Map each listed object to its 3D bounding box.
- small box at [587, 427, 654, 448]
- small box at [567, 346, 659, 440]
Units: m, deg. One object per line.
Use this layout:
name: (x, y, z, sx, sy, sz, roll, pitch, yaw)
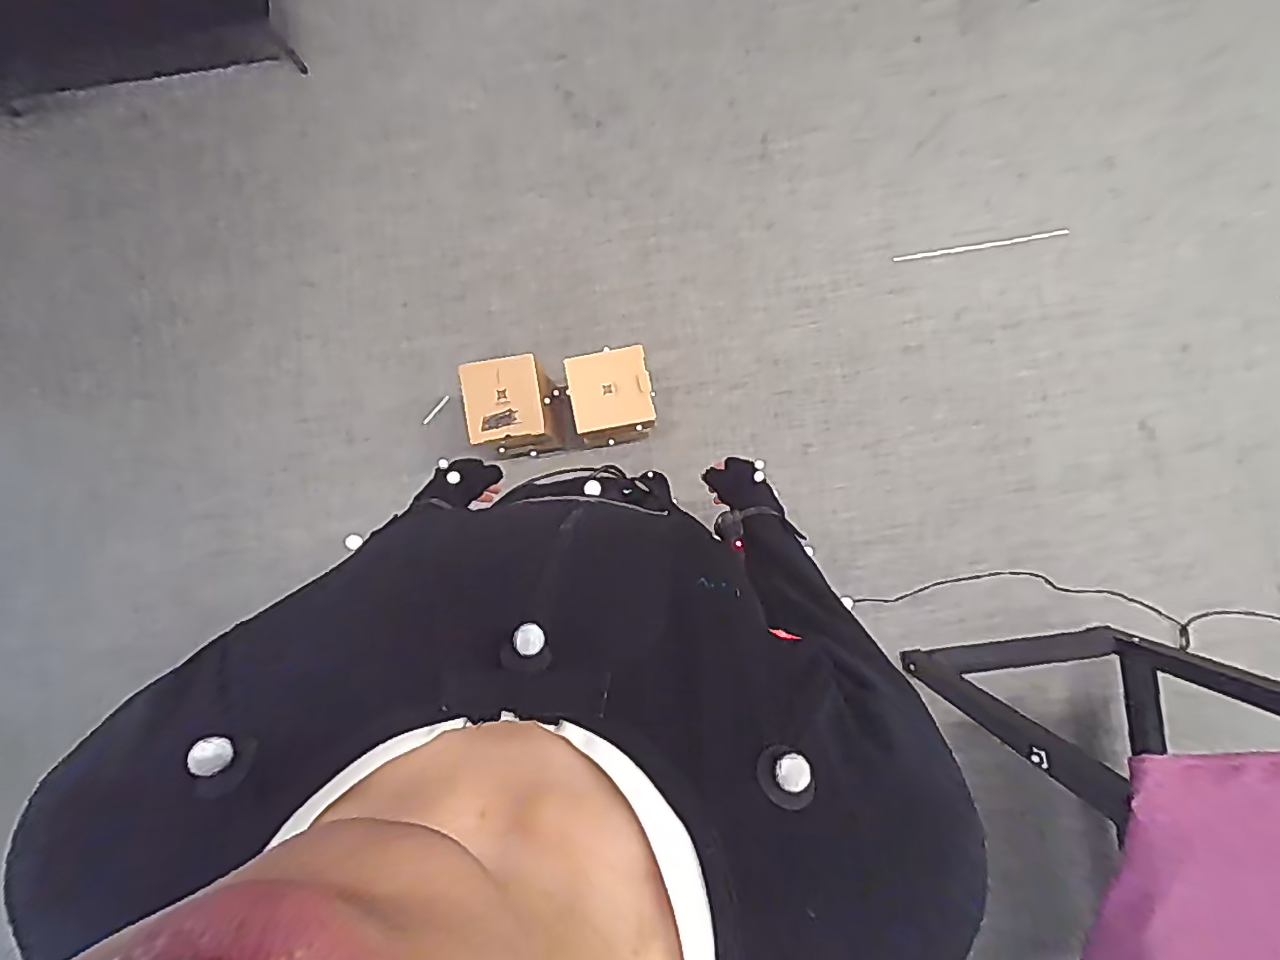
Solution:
small box: (-0.060, -0.186, 1.401, 0.168, 0.176, 0.179, -10, 90, 1)
small box: (-0.056, -0.191, 1.237, 0.179, 0.176, 0.168, -11, 90, 0)
